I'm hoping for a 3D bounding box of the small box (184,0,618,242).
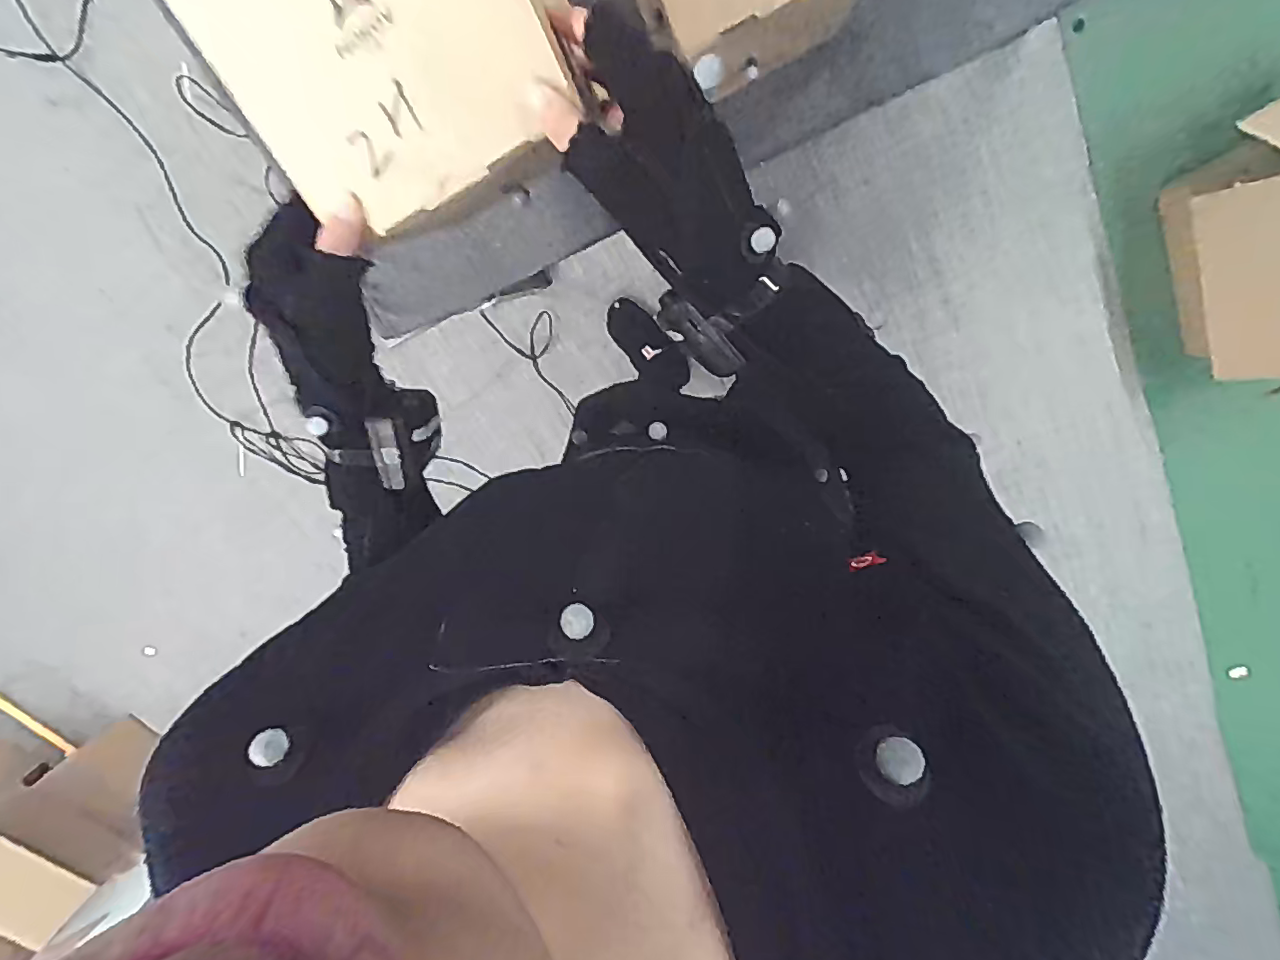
[{"bbox_3d":[-0.127,-0.273,0.329,0.168,0.176,0.179,-20,117,17],"label":"small box"}]
